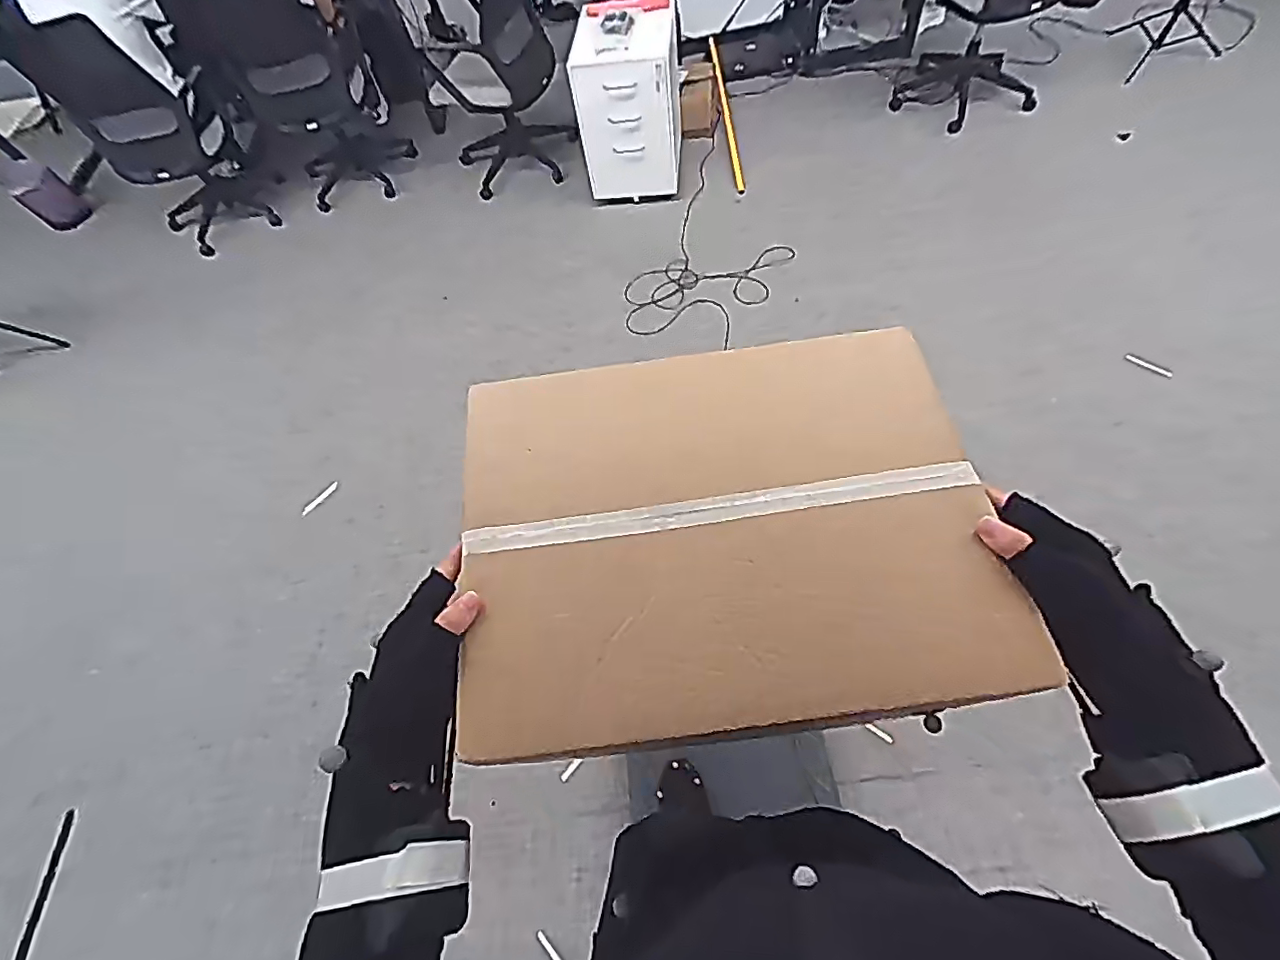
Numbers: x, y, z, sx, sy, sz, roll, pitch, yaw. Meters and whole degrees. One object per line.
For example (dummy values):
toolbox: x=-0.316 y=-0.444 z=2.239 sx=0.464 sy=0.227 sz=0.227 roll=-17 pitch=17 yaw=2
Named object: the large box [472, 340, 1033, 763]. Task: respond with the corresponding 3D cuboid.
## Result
large box: x=0.073 y=0.097 z=0.573 sx=0.408 sy=0.320 sz=0.320 roll=-8 pitch=62 yaw=1
